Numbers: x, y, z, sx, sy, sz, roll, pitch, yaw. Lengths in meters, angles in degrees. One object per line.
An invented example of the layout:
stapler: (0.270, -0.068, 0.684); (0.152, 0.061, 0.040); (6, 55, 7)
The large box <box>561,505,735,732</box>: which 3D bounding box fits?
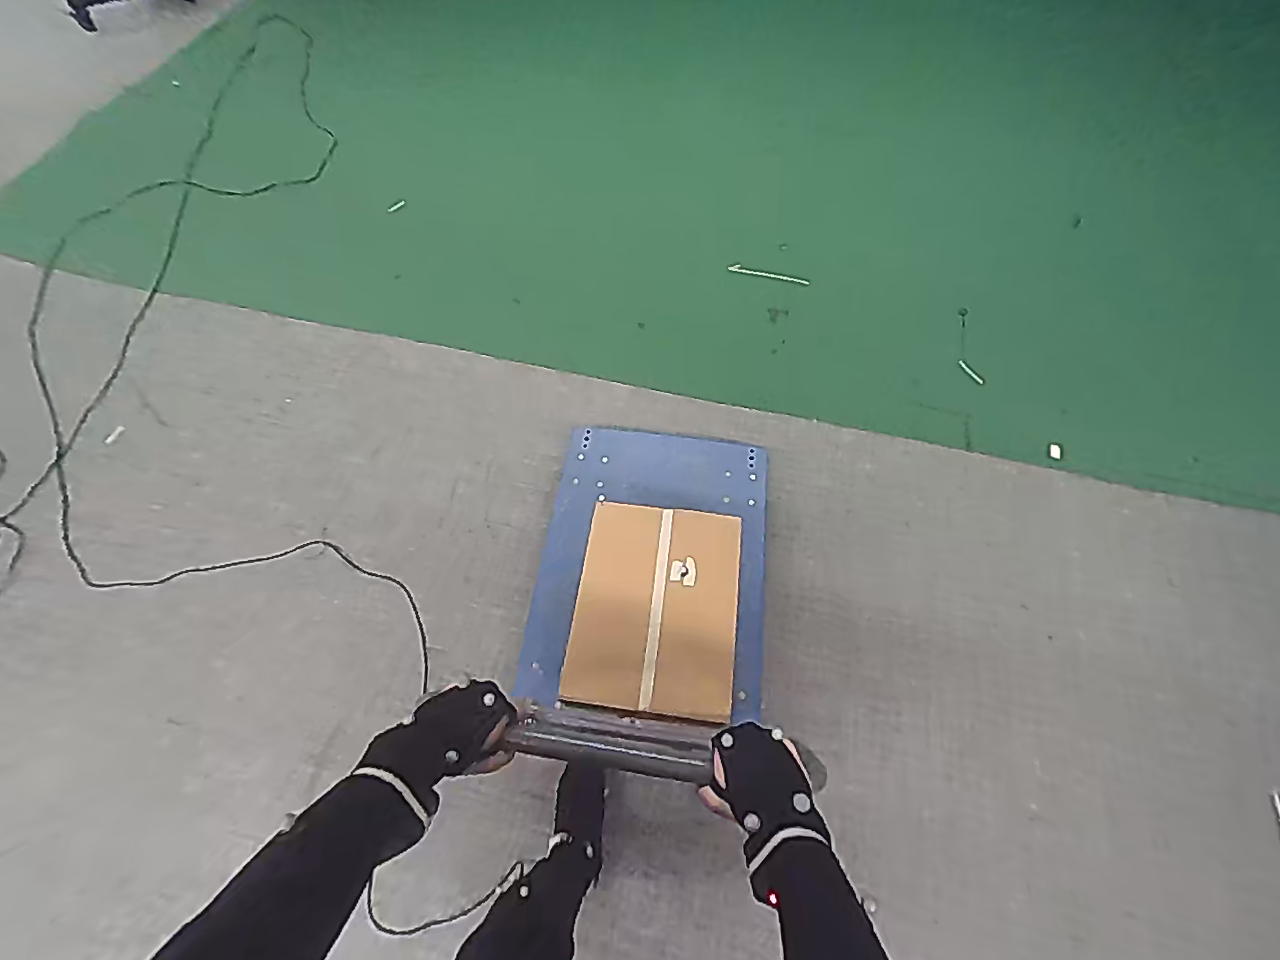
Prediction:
large box: (0.030, 0.314, 1.195); (0.320, 0.320, 0.408); (7, 61, 3)
